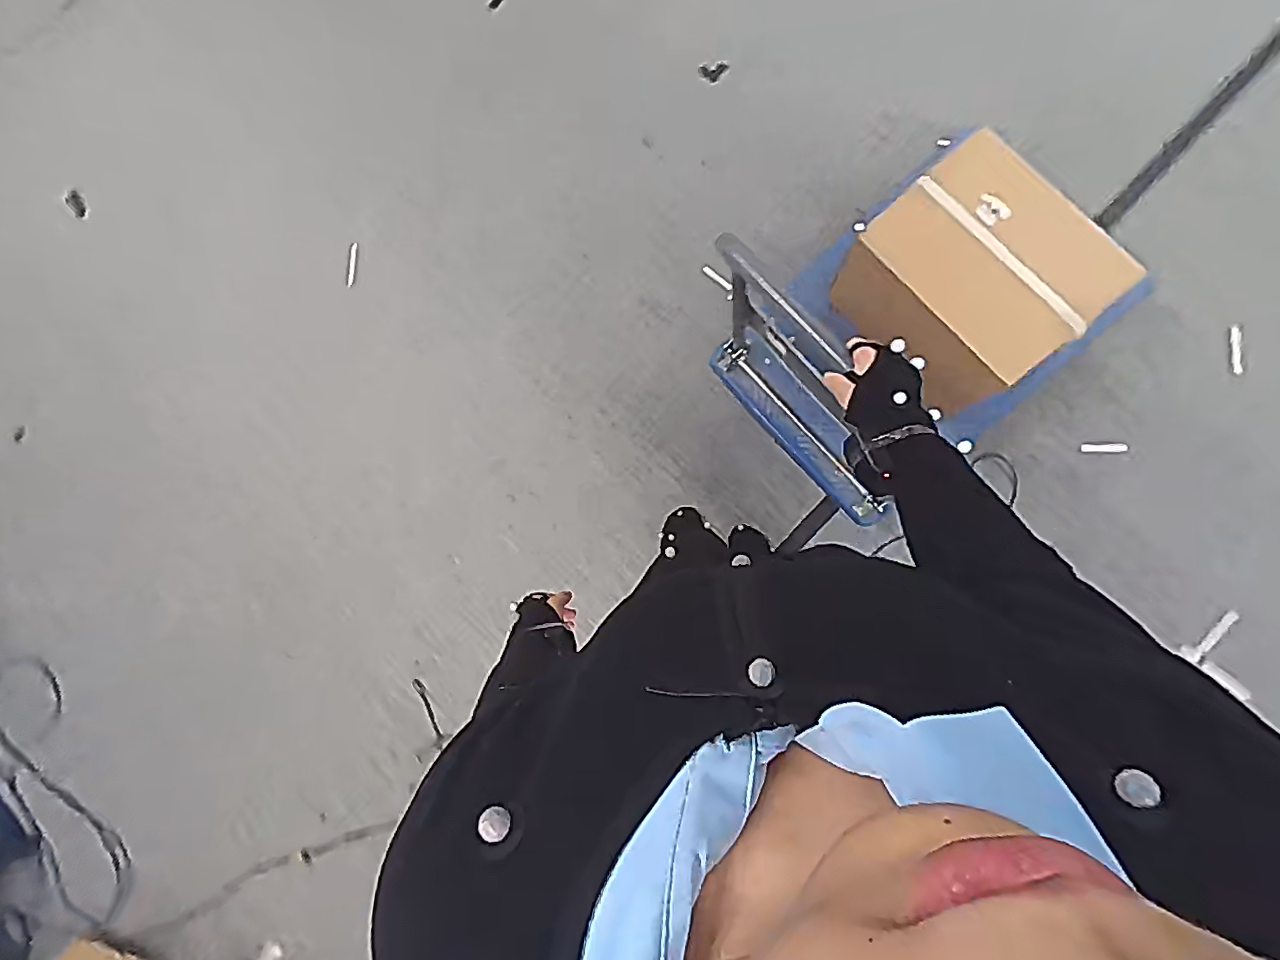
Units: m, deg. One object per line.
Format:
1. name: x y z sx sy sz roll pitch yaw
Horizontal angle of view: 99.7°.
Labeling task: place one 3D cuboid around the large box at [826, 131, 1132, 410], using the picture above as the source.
1. large box: 0.677 -0.419 1.166 0.320 0.320 0.408 -41 79 3
